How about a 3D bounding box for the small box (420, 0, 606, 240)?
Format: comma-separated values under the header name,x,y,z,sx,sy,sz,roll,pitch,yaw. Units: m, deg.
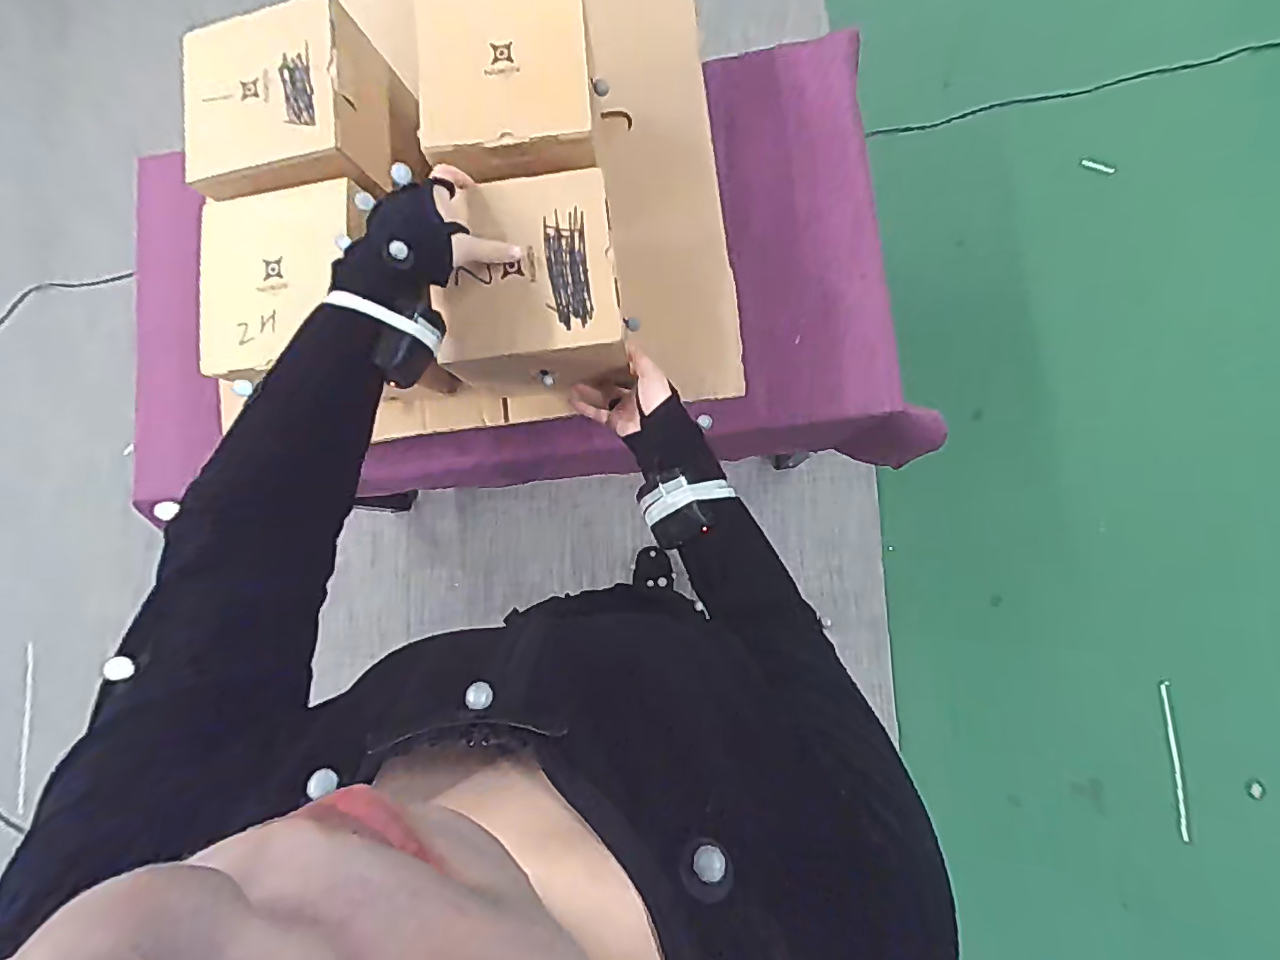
name,x,y,z,sx,sy,sz,roll,pitch,yaw
small box,-0.130,-0.399,0.607,0.168,0.176,0.179,-5,86,2
